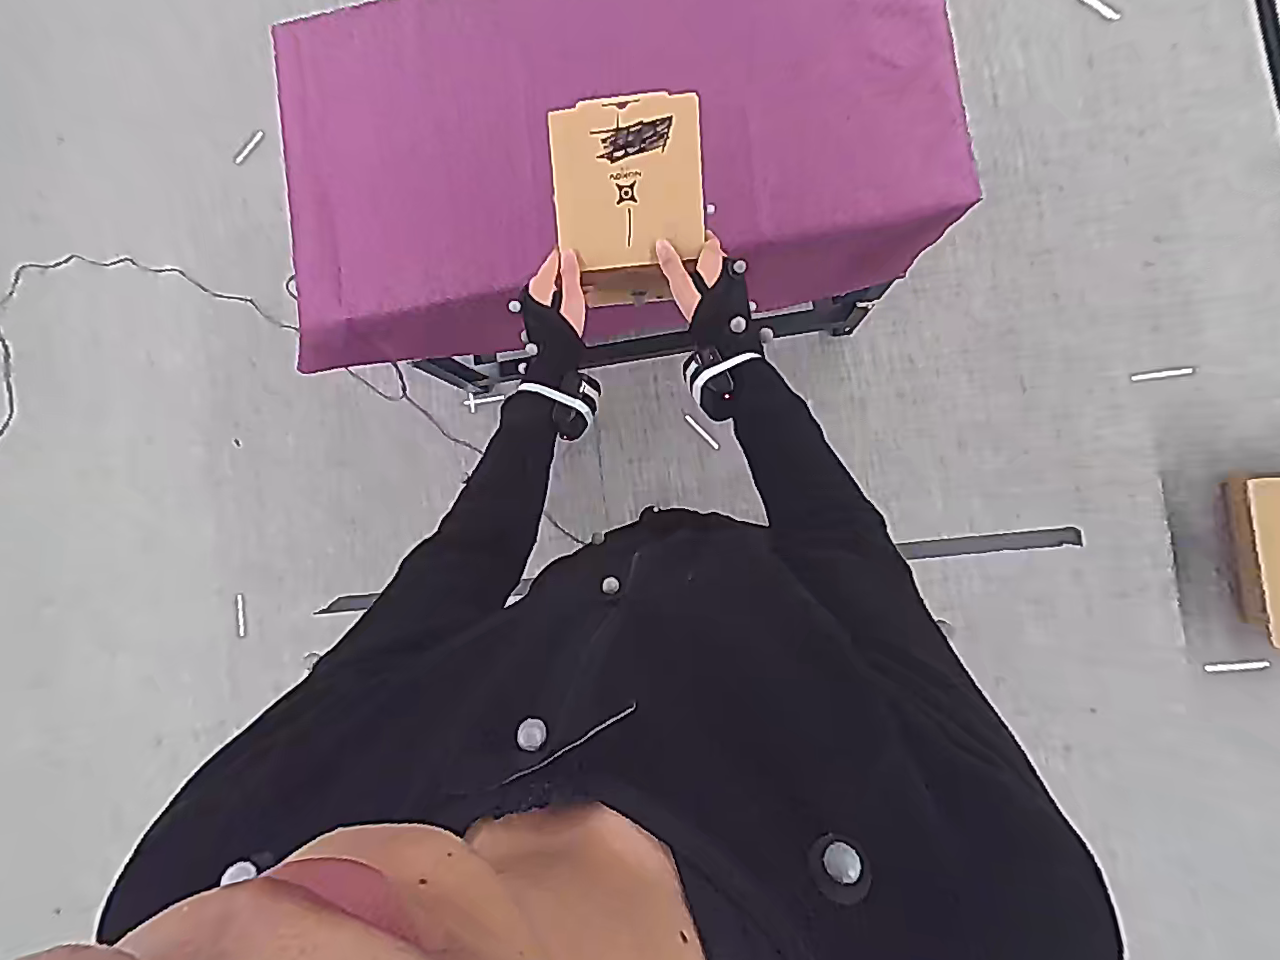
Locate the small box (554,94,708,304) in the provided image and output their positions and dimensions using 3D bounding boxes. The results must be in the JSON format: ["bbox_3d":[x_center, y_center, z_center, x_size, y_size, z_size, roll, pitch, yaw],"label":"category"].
[{"bbox_3d":[-0.003,-0.335,0.678,0.168,0.176,0.179,-4,95,6],"label":"small box"}]
